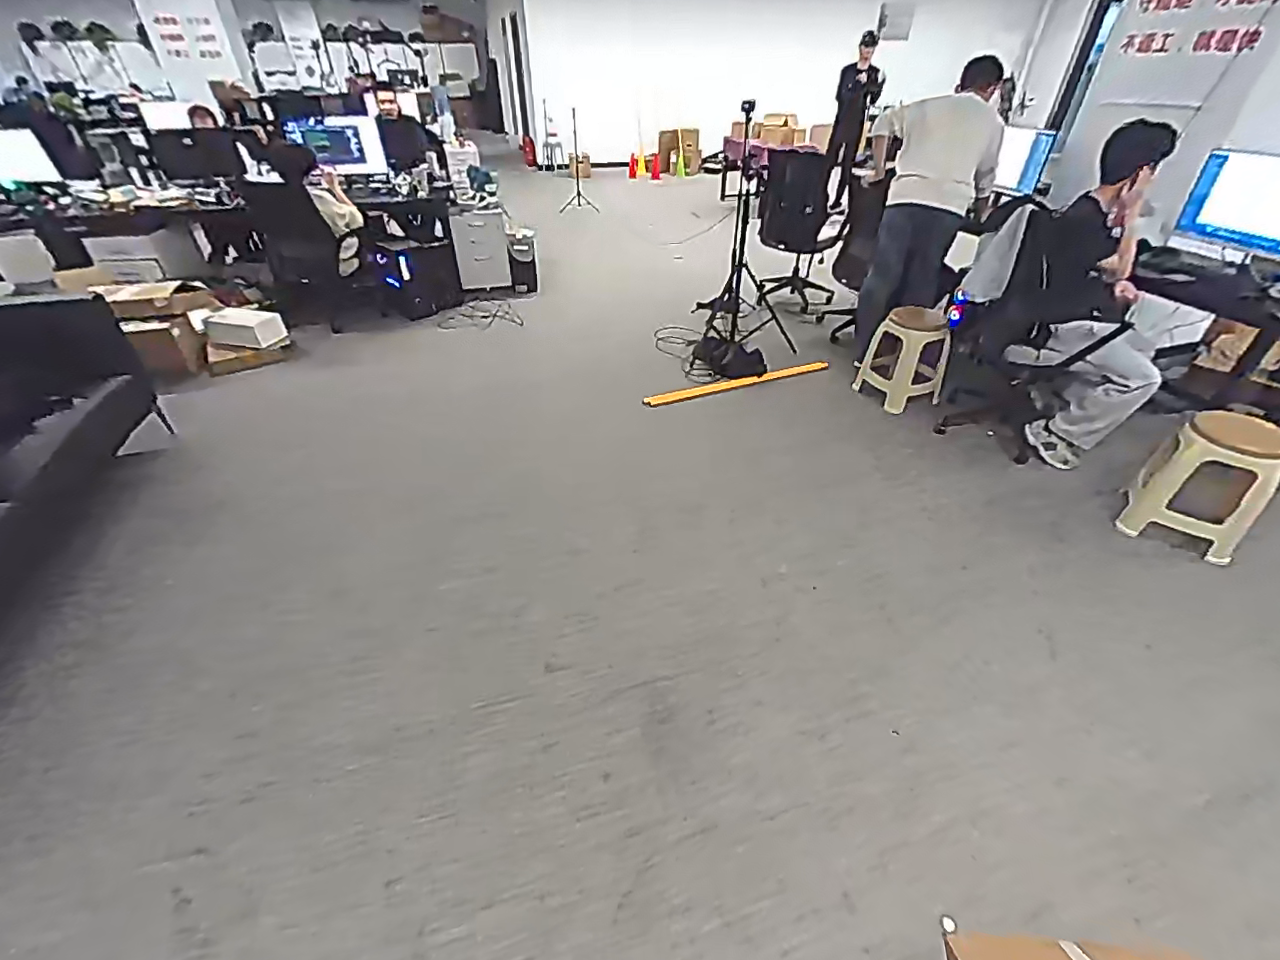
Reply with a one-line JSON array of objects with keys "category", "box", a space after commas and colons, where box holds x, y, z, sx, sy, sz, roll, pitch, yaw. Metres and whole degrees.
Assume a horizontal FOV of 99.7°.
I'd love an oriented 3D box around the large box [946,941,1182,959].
[{"category": "large box", "box": [0.564, 0.766, 0.538, 0.320, 0.408, 0.320, -2, 77, 10]}]
